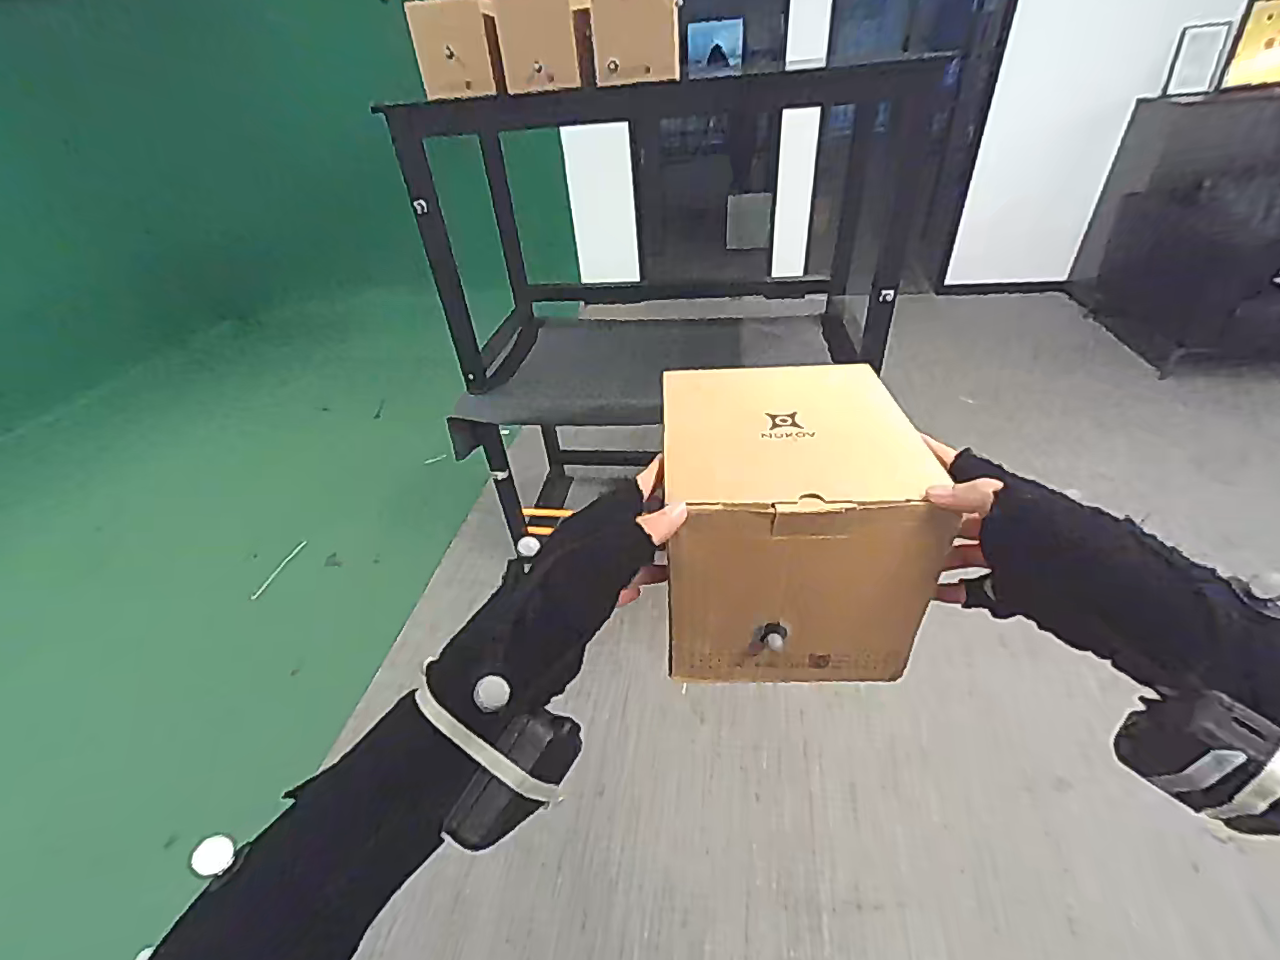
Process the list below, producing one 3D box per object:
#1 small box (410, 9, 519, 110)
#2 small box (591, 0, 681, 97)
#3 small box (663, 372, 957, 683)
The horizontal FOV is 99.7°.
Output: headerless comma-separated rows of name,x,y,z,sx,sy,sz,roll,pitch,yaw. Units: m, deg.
small box,-0.390,-0.960,1.244,0.168,0.176,0.179,2,38,8
small box,0.000,-0.938,1.167,0.168,0.176,0.179,0,37,7
small box,0.101,0.030,0.417,0.168,0.176,0.179,-1,36,3
